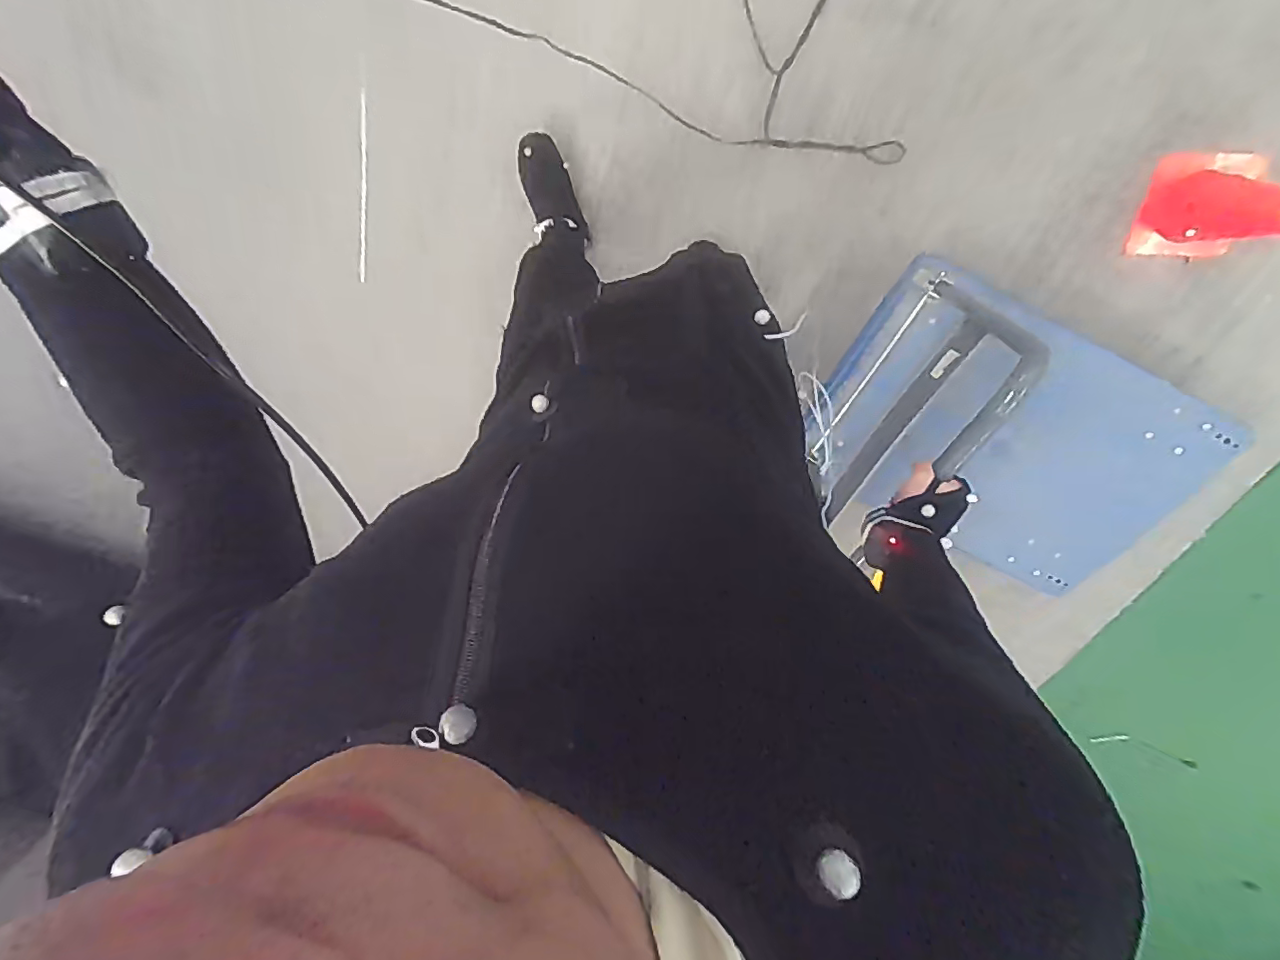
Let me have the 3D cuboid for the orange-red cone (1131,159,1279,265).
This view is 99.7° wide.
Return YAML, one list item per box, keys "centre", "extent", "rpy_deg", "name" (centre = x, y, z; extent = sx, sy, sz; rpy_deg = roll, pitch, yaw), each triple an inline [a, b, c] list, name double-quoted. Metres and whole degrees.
- centre: [1.171, -0.497, 1.016]
  extent: [0.198, 0.360, 0.199]
  rpy_deg: [7, 118, 7]
  name: "orange-red cone"
